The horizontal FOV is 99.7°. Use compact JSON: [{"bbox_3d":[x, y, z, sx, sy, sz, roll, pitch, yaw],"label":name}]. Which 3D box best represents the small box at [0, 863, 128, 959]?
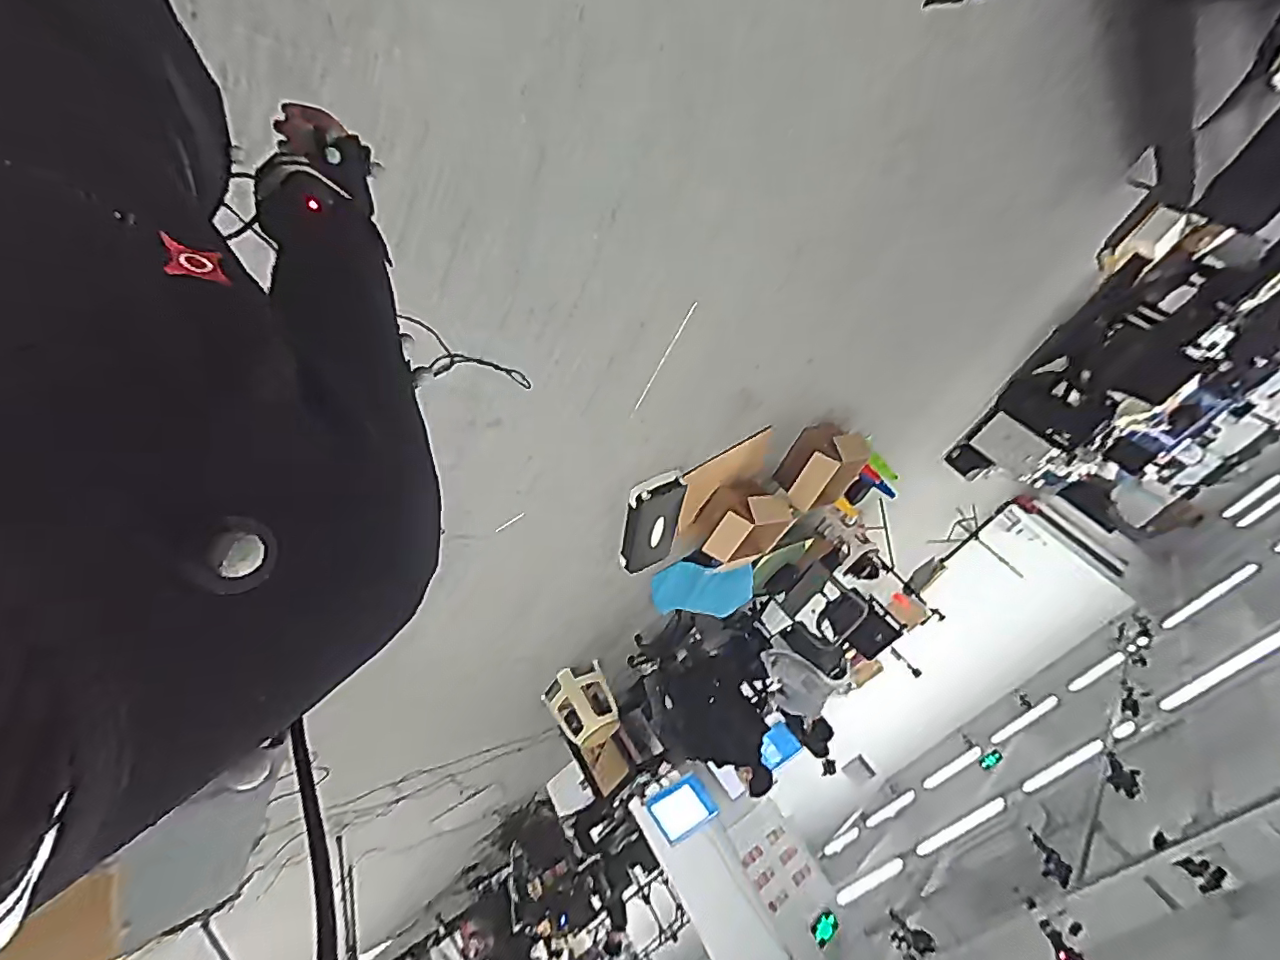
[{"bbox_3d":[-1.047,0.837,0.972,0.179,0.176,0.168,-1,133,-45],"label":"small box"}]
